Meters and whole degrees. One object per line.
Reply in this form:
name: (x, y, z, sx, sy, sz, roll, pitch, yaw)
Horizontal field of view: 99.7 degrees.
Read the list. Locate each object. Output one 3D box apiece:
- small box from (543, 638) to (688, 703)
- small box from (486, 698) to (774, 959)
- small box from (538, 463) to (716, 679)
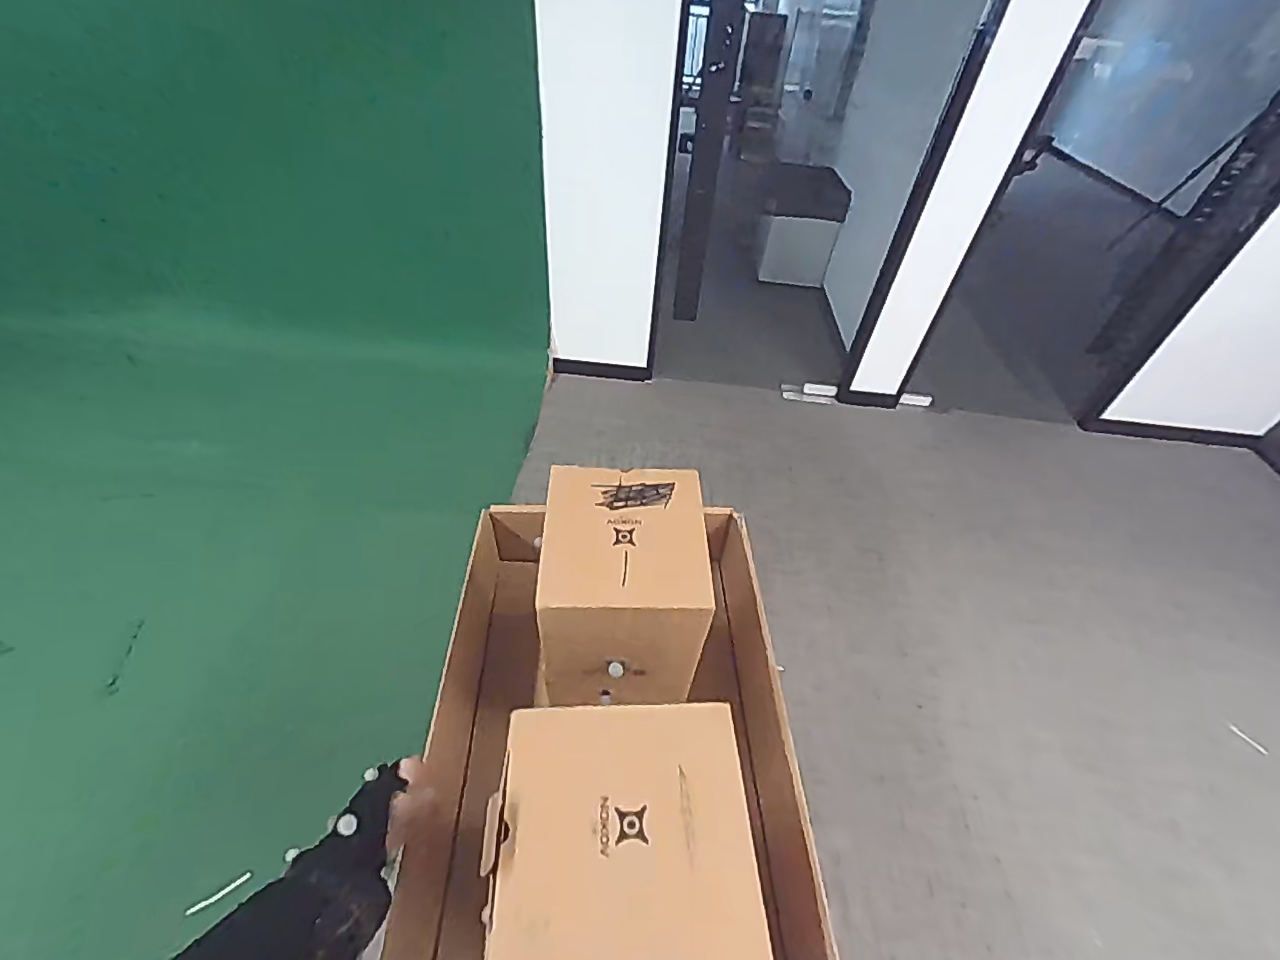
small box: (-0.027, 0.210, 0.727, 0.179, 0.176, 0.168, 2, 47, -2)
small box: (-0.013, 0.290, 0.431, 0.179, 0.176, 0.168, 0, 47, -6)
small box: (-0.018, 0.102, 0.603, 0.168, 0.176, 0.179, 2, 48, -3)
